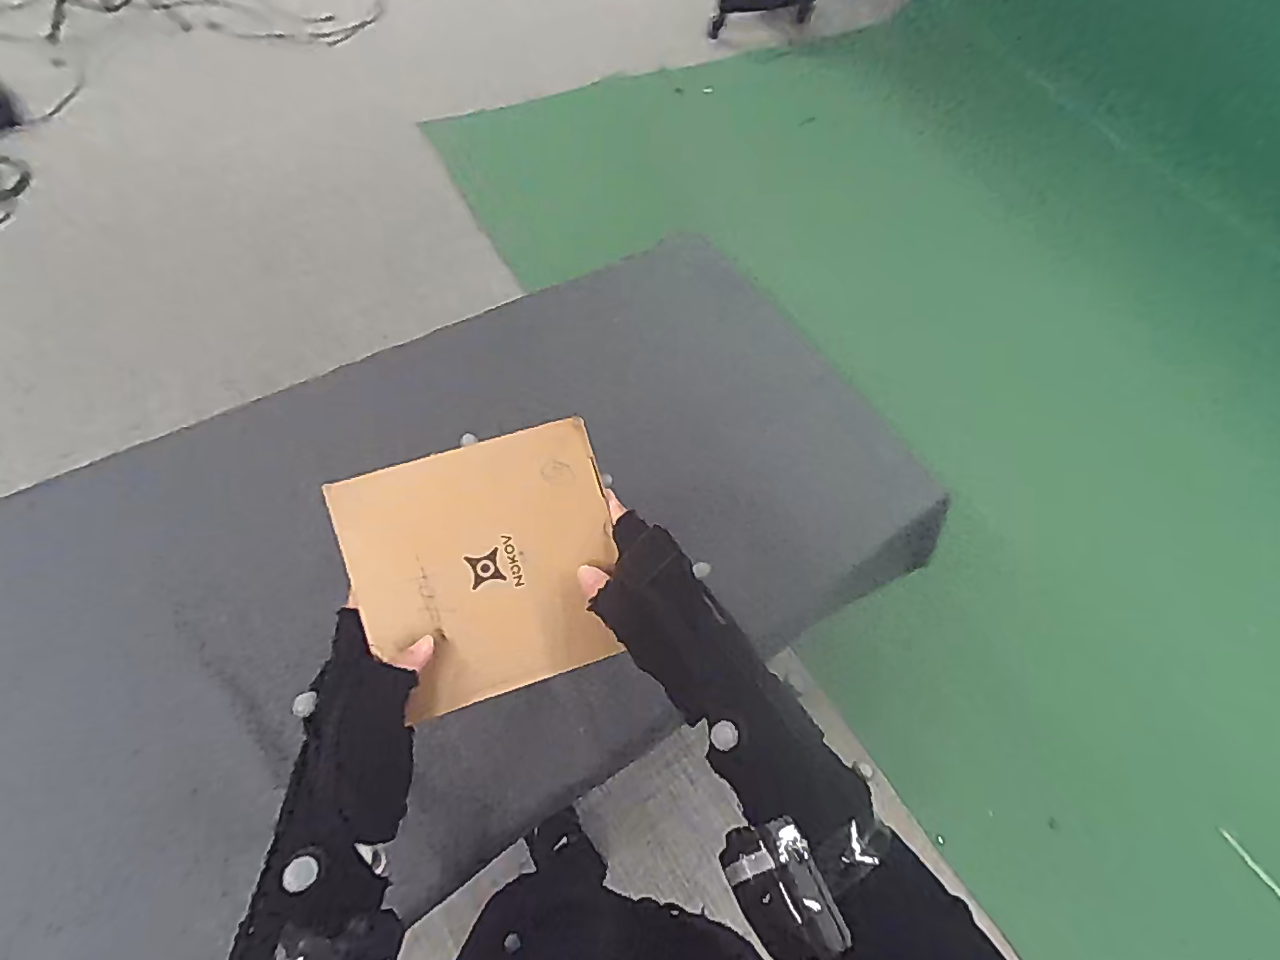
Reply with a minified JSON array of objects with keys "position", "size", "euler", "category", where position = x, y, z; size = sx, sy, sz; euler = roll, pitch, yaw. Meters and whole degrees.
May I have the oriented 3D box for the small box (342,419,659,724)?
[{"position":[-0.100,0.061,0.439],"size":[0.179,0.176,0.168],"euler":[-17,88,-7],"category":"small box"}]
